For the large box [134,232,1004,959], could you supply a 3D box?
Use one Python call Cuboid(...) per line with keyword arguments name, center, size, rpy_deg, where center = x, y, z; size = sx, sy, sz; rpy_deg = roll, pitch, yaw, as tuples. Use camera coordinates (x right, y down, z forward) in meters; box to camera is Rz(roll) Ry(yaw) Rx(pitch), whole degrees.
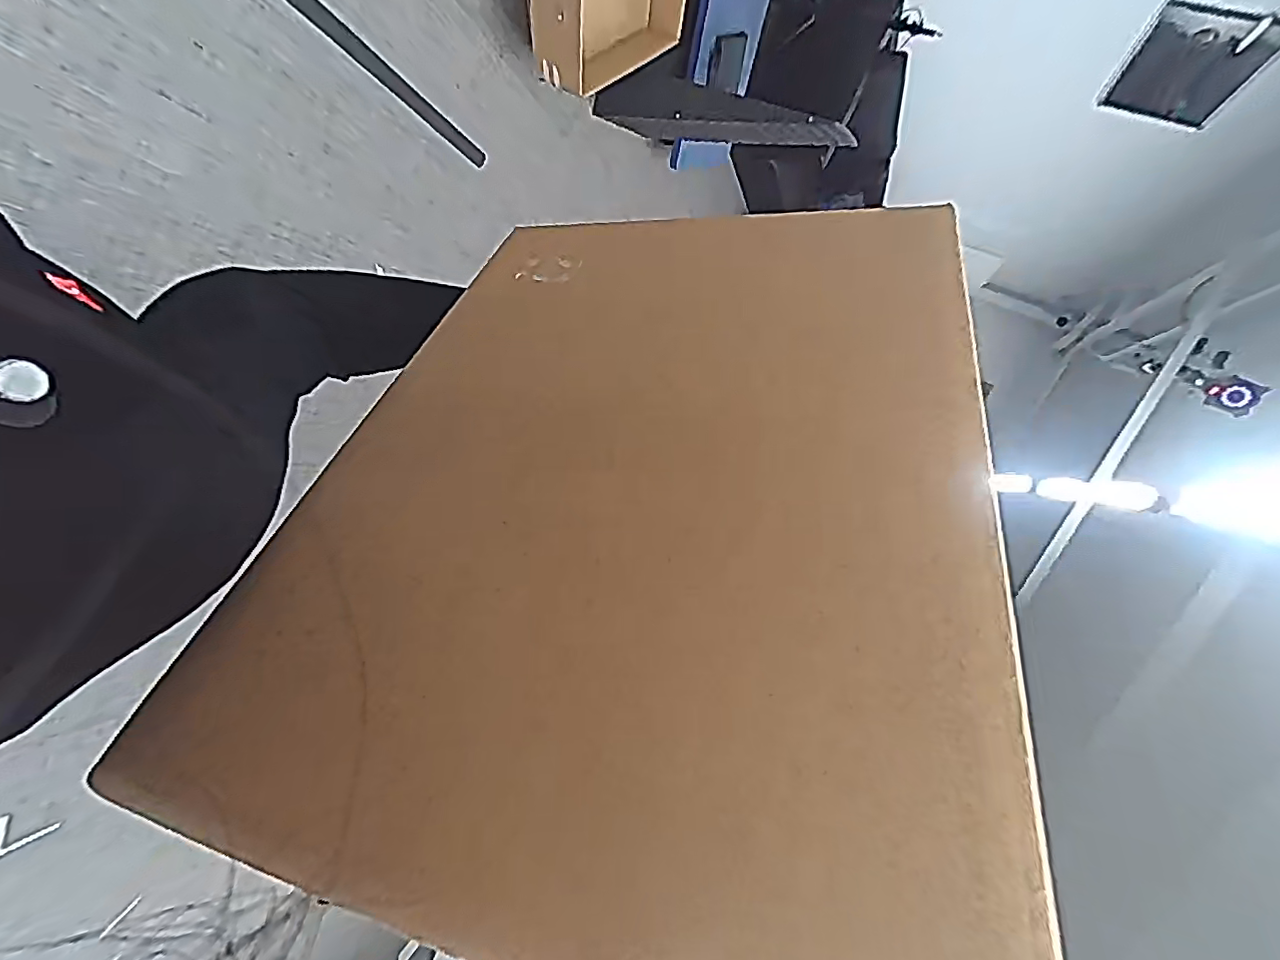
Cuboid(name="large box", center=(0.022, 0.068, 0.390), size=(0.320, 0.320, 0.408), rpy_deg=(76, 27, -50))
